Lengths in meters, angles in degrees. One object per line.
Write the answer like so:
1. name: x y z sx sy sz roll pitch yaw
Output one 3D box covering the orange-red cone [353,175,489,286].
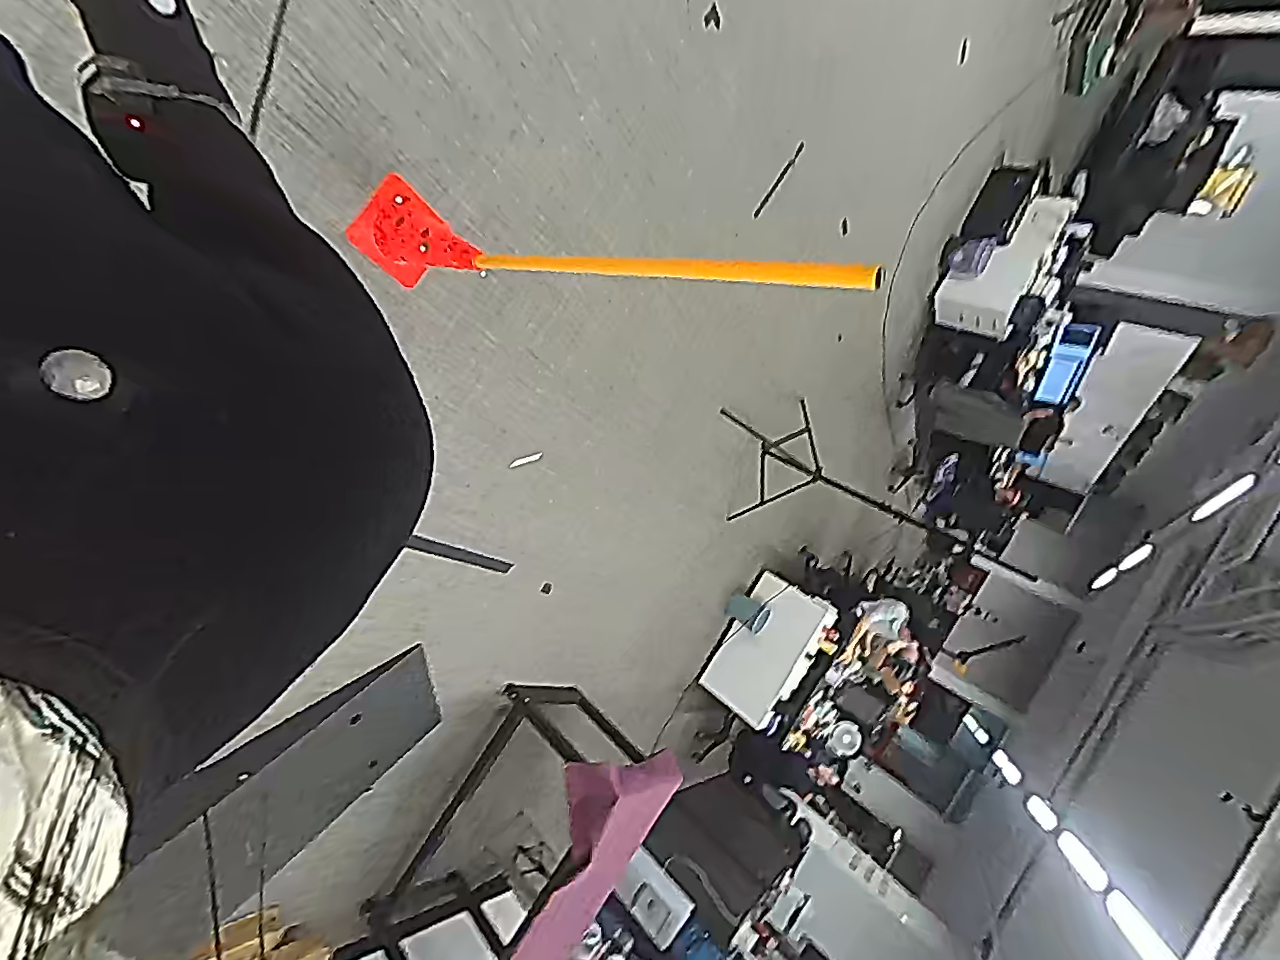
1. orange-red cone: -0.456 -0.535 1.233 0.199 0.360 0.198 -55 145 -5
